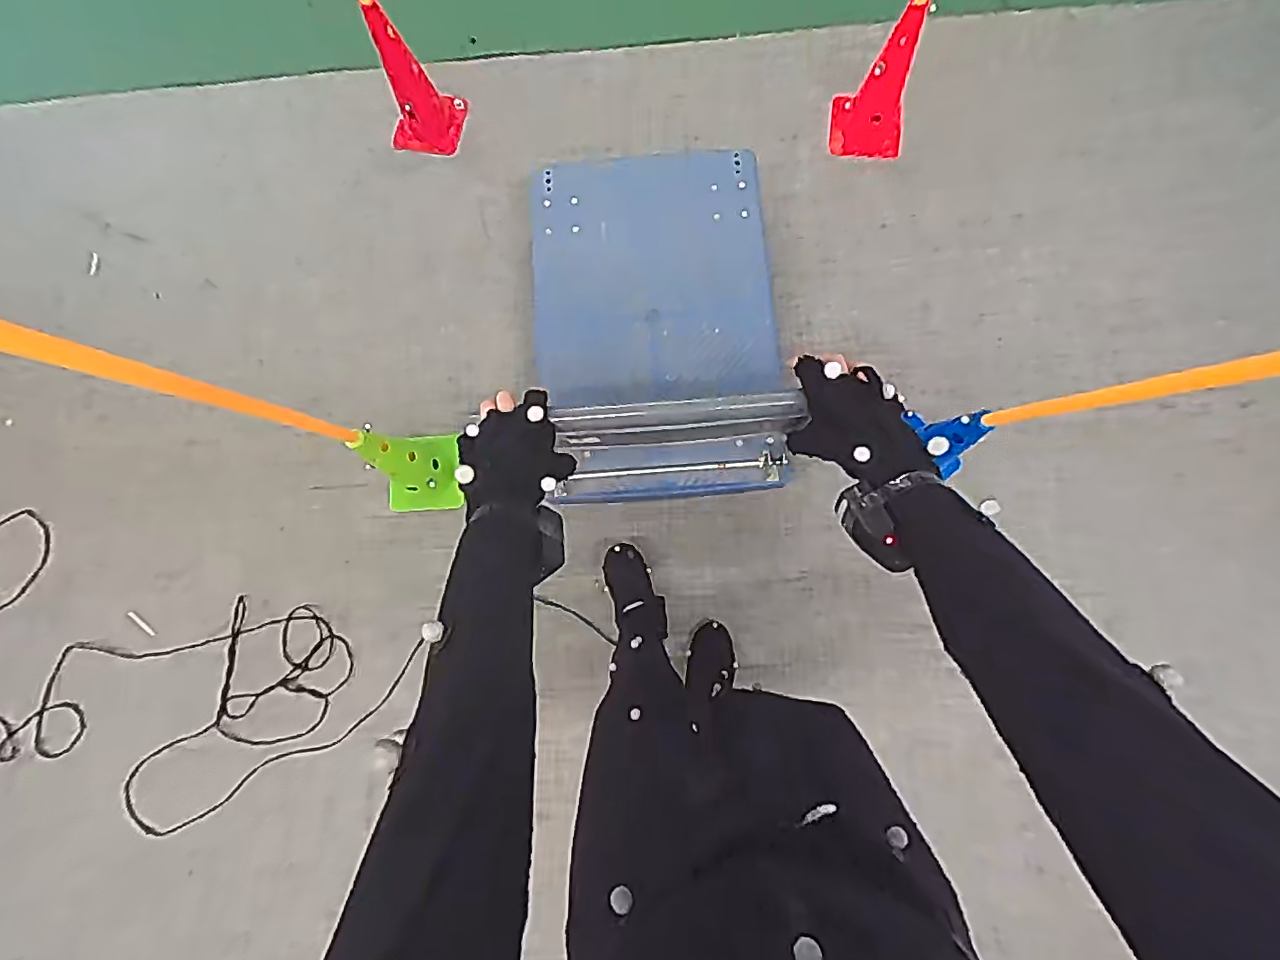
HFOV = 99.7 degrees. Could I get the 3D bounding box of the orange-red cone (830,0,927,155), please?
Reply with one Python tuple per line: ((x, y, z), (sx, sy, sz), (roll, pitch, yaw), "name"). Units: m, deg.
((0.638, -1.050, 1.378), (0.198, 0.360, 0.199), (8, 81, 6), "orange-red cone")
